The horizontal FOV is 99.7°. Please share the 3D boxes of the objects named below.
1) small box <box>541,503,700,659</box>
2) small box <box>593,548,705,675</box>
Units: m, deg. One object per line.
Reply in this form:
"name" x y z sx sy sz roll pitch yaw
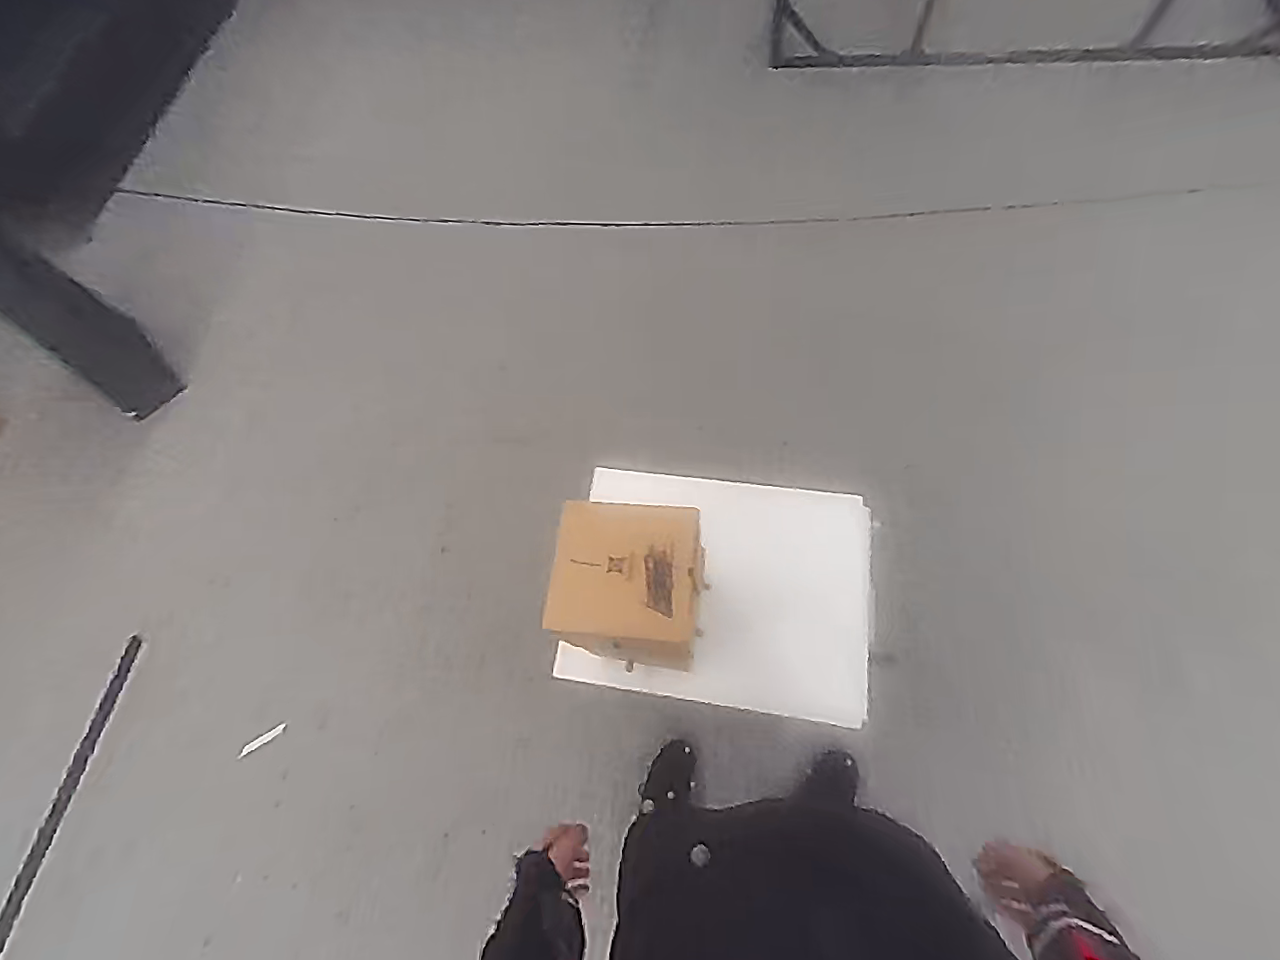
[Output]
"small box" -0.012 0.140 0.719 0.179 0.176 0.168 2 66 9
"small box" 0.011 0.205 0.868 0.168 0.176 0.179 7 68 10
